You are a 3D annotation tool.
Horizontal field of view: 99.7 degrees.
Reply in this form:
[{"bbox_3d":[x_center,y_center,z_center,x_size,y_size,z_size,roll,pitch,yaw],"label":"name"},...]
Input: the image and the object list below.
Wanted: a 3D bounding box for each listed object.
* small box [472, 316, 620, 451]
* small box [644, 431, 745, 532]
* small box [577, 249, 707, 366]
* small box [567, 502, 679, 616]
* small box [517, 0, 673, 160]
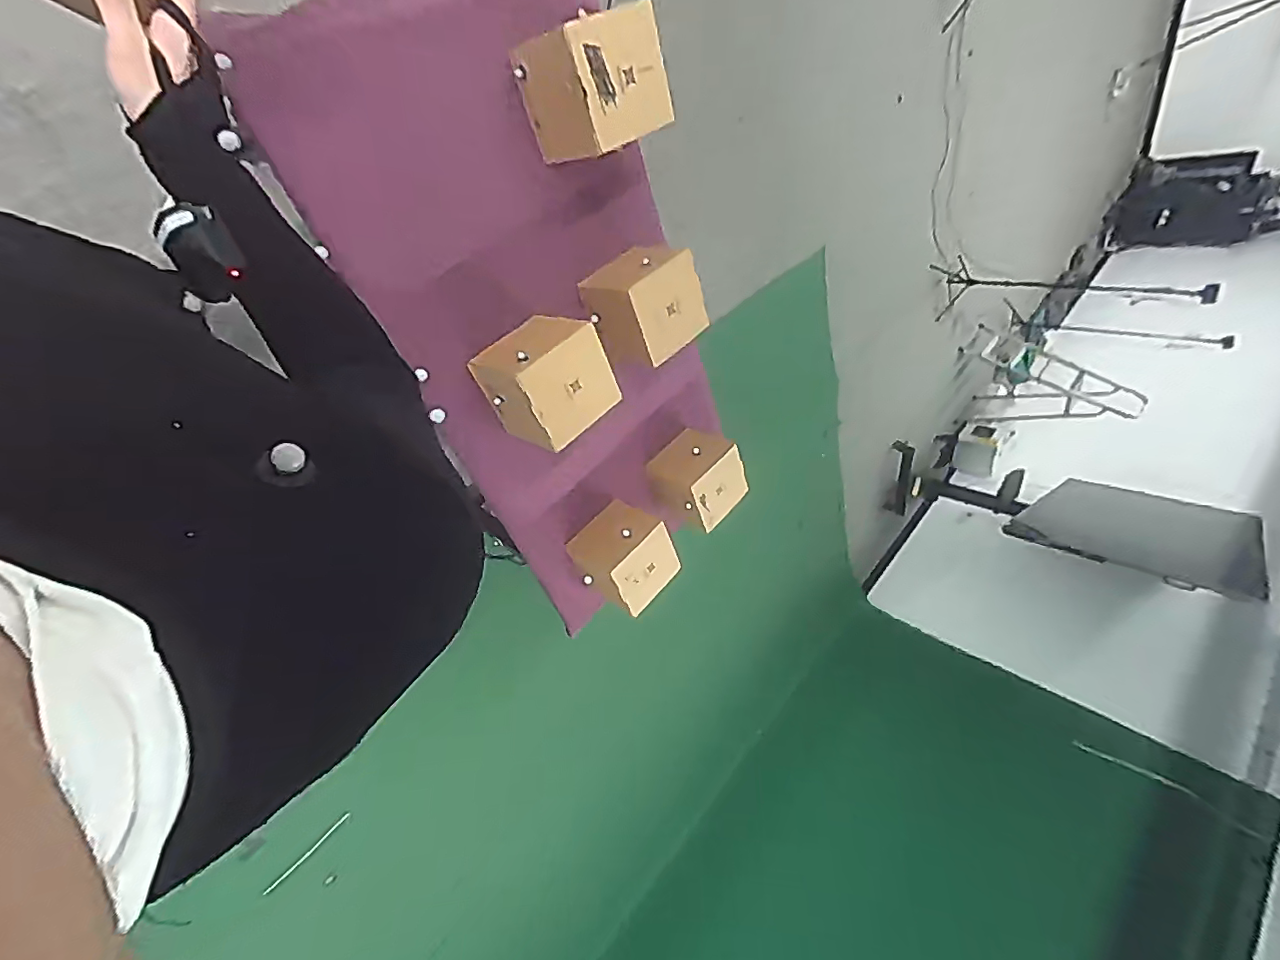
[{"bbox_3d":[-0.173,-0.185,0.997,0.179,0.176,0.168,-43,133,-23],"label":"small box"},{"bbox_3d":[0.140,-0.004,1.383,0.179,0.176,0.168,-43,132,-24],"label":"small box"},{"bbox_3d":[0.005,-0.357,1.100,0.179,0.176,0.168,-41,131,-24],"label":"small box"},{"bbox_3d":[-0.041,0.178,1.277,0.179,0.176,0.168,-42,130,-25],"label":"small box"},{"bbox_3d":[-0.078,-0.645,0.887,0.179,0.176,0.168,-40,132,-25],"label":"small box"}]
